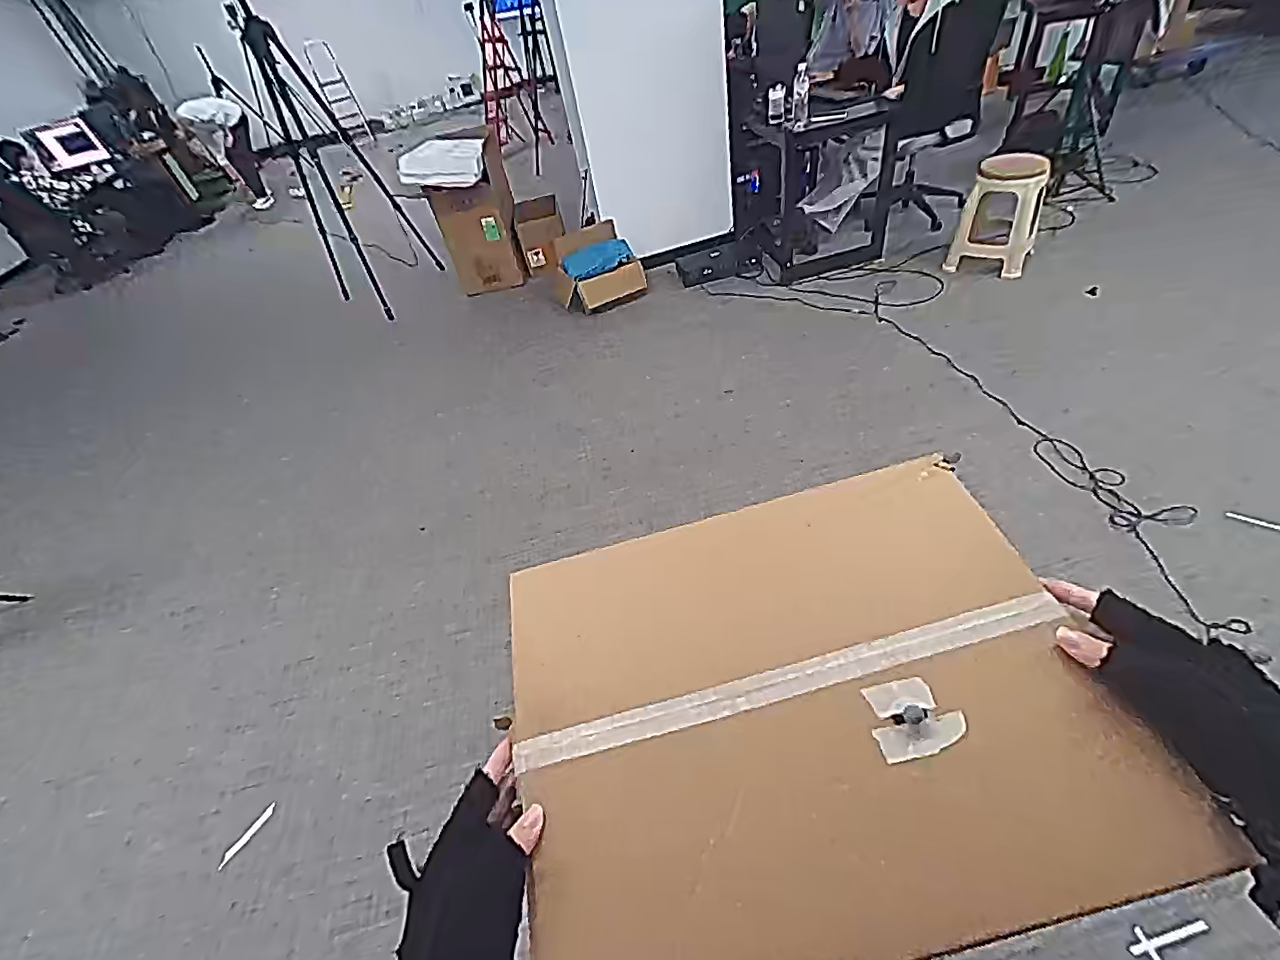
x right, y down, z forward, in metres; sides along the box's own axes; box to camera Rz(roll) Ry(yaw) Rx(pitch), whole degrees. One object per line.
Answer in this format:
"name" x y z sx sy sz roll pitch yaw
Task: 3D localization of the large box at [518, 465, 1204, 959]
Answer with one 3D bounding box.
"large box" 0.133 0.244 0.520 0.408 0.320 0.320 -16 50 -1
